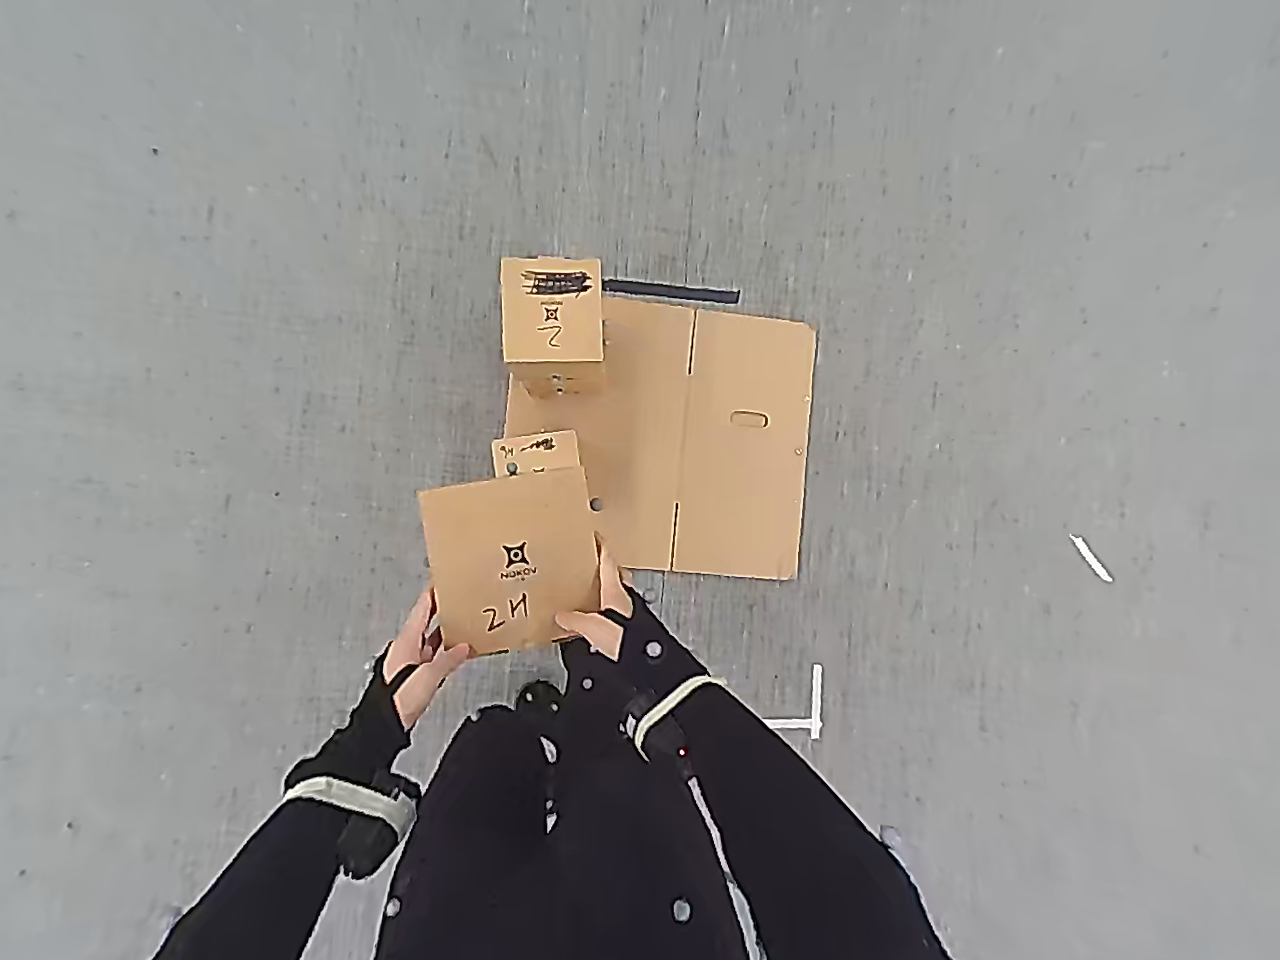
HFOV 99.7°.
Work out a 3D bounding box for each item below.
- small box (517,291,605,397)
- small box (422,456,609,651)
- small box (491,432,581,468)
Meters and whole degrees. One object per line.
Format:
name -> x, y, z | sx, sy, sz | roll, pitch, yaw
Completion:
small box -> -0.162, -0.278, 1.132 | 0.168, 0.176, 0.179 | -4, 89, -5
small box -> -0.137, 0.071, 0.624 | 0.168, 0.176, 0.179 | -9, 93, -9
small box -> -0.201, 0.000, 1.120 | 0.168, 0.176, 0.179 | -8, 91, -6
